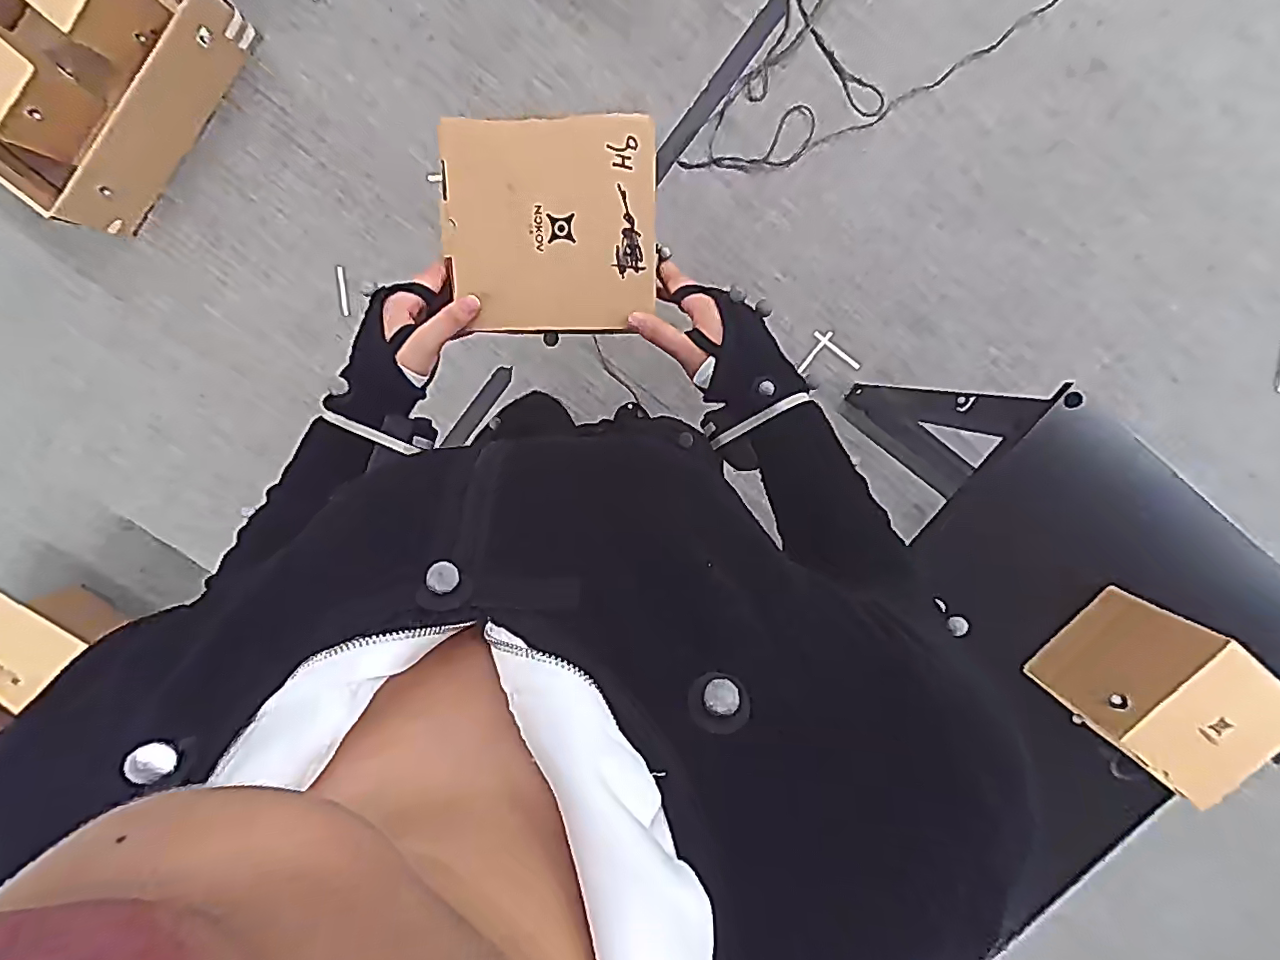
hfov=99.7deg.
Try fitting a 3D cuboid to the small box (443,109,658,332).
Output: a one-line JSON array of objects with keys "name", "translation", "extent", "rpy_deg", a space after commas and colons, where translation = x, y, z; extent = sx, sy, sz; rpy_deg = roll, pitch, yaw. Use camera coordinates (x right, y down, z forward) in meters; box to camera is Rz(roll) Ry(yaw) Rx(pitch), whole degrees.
[{"name": "small box", "translation": [-0.071, -0.235, 0.530], "extent": [0.179, 0.176, 0.168], "rpy_deg": [0, 103, 1]}]

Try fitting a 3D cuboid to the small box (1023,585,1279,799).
[{"name": "small box", "translation": [0.687, 0.275, 0.740], "extent": [0.168, 0.176, 0.179], "rpy_deg": [38, 99, -8]}]

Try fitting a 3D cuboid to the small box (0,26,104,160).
[{"name": "small box", "translation": [-1.350, -0.846, 1.179], "extent": [0.168, 0.176, 0.179], "rpy_deg": [42, 96, -10]}]
